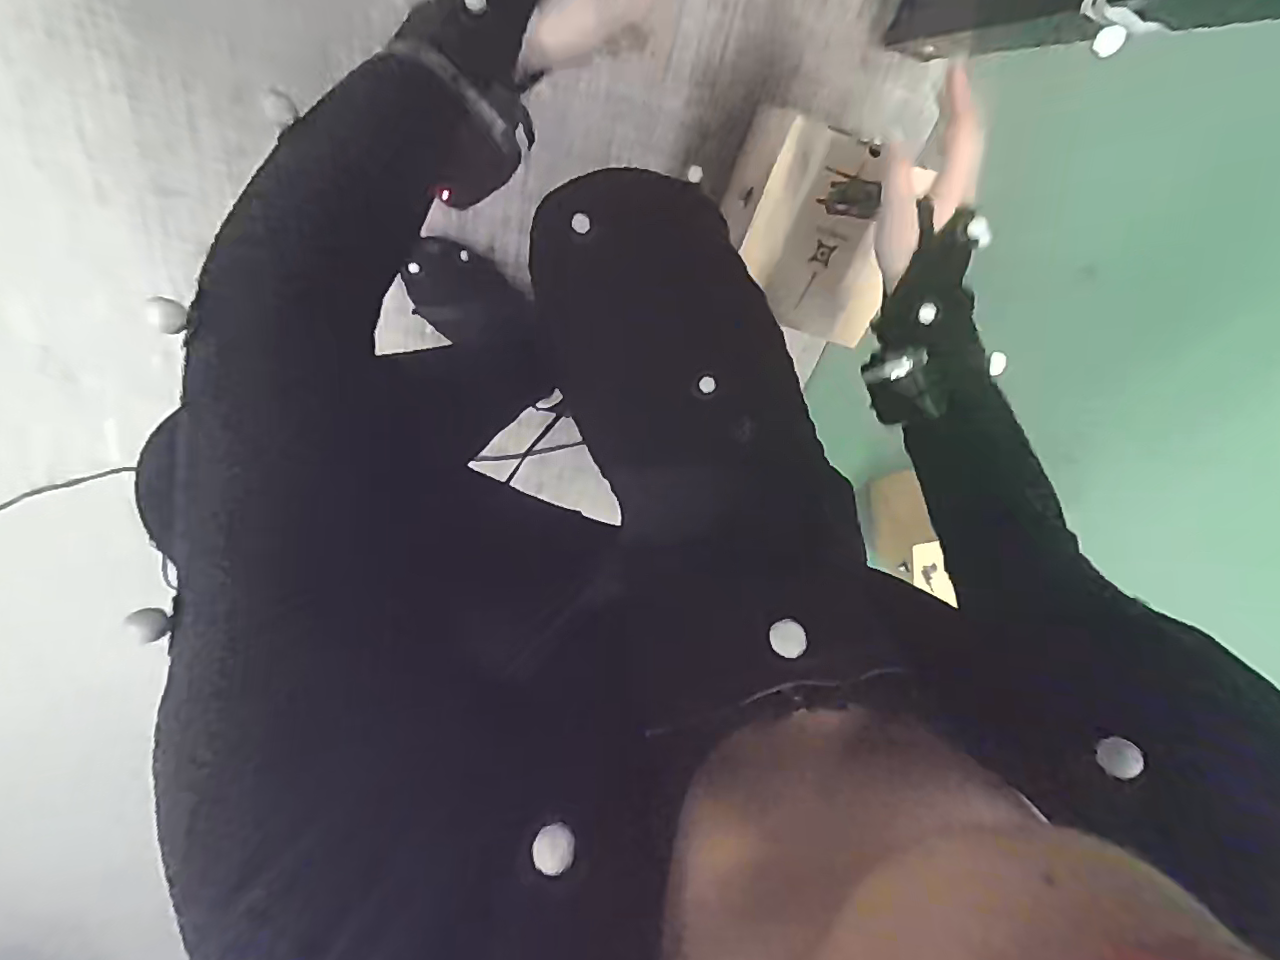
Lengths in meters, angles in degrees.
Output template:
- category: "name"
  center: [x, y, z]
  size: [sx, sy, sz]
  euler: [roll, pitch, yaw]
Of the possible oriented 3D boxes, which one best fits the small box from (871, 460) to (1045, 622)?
- category: "small box"
  center: [0.486, 0.091, 0.852]
  size: [0.179, 0.176, 0.168]
  euler: [-15, 125, 9]
